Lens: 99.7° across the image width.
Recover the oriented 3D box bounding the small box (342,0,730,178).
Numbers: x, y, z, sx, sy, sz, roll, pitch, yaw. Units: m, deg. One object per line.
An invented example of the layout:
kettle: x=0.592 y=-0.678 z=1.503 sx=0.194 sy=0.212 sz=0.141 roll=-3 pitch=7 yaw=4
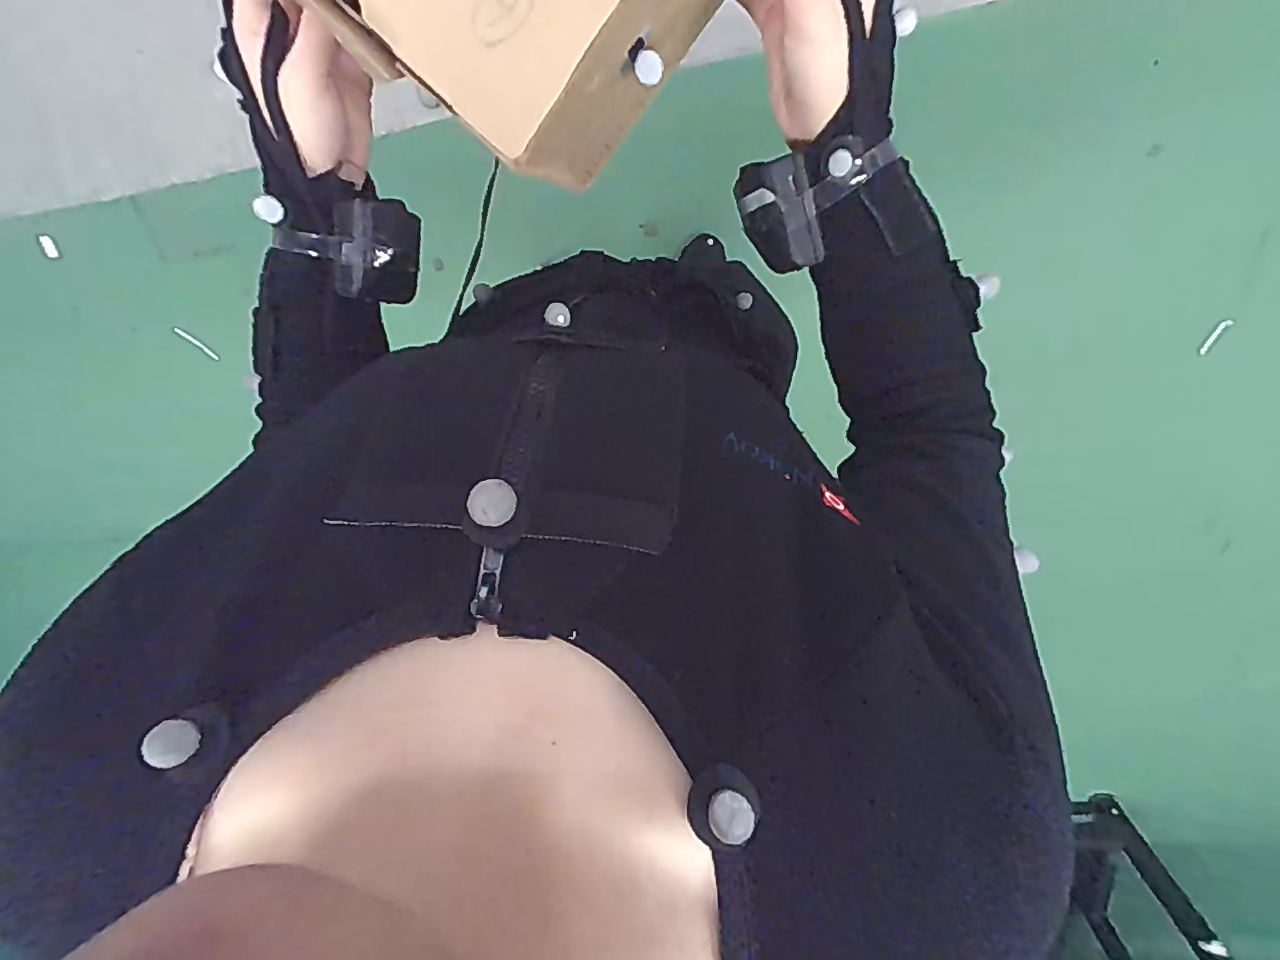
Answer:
small box: x=-0.046 y=-0.276 z=0.259 sx=0.168 sy=0.176 sz=0.179 roll=40 pitch=113 yaw=-13
